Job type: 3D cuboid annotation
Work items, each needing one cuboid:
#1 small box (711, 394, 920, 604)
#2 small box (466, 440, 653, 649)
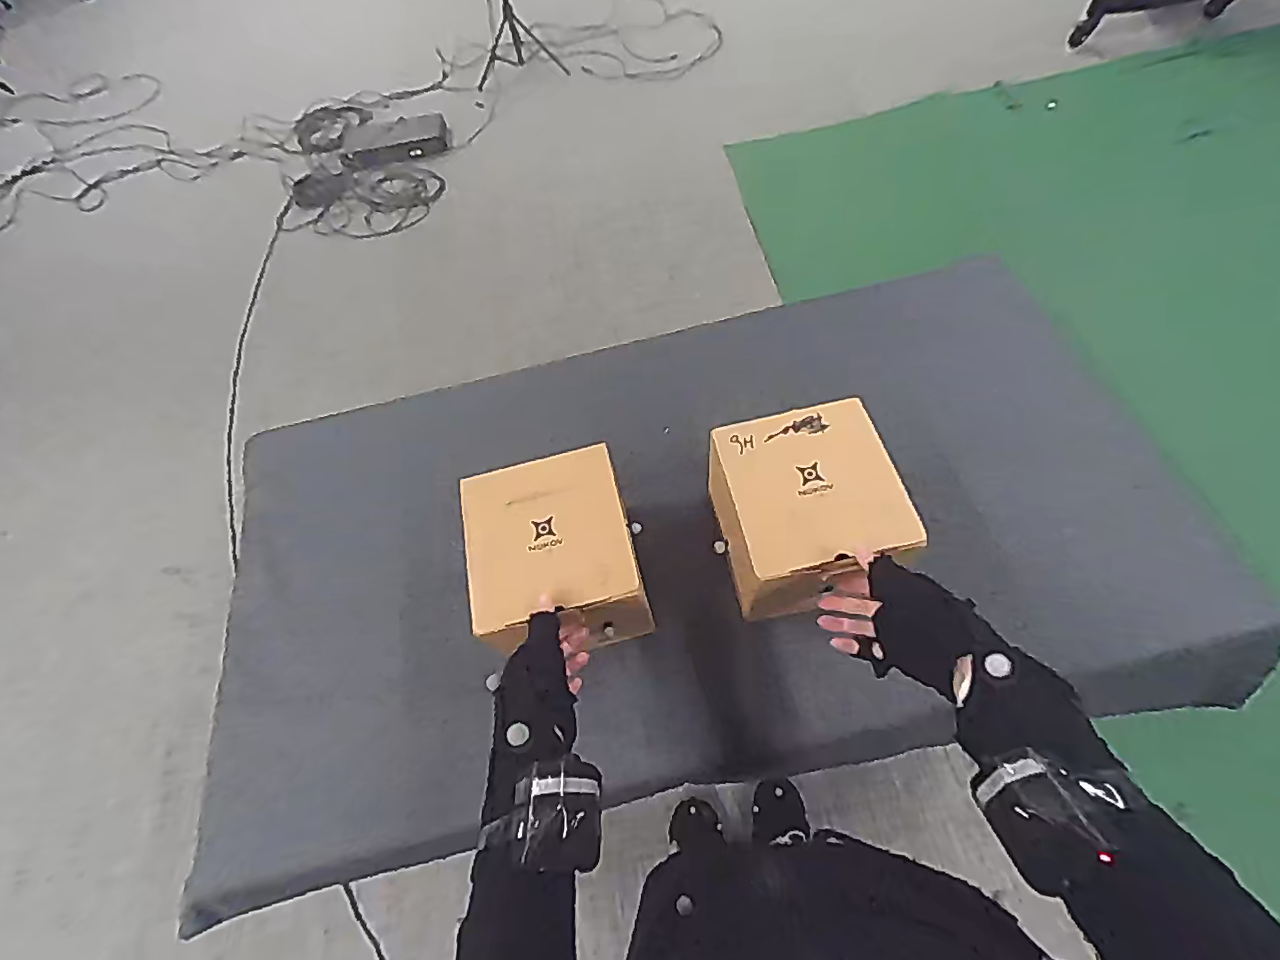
[{"bbox_3d":[0.182,0.034,0.622,0.168,0.176,0.179,-13,63,0],"label":"small box"},{"bbox_3d":[-0.086,0.086,0.629,0.168,0.176,0.179,-15,61,-3],"label":"small box"}]
